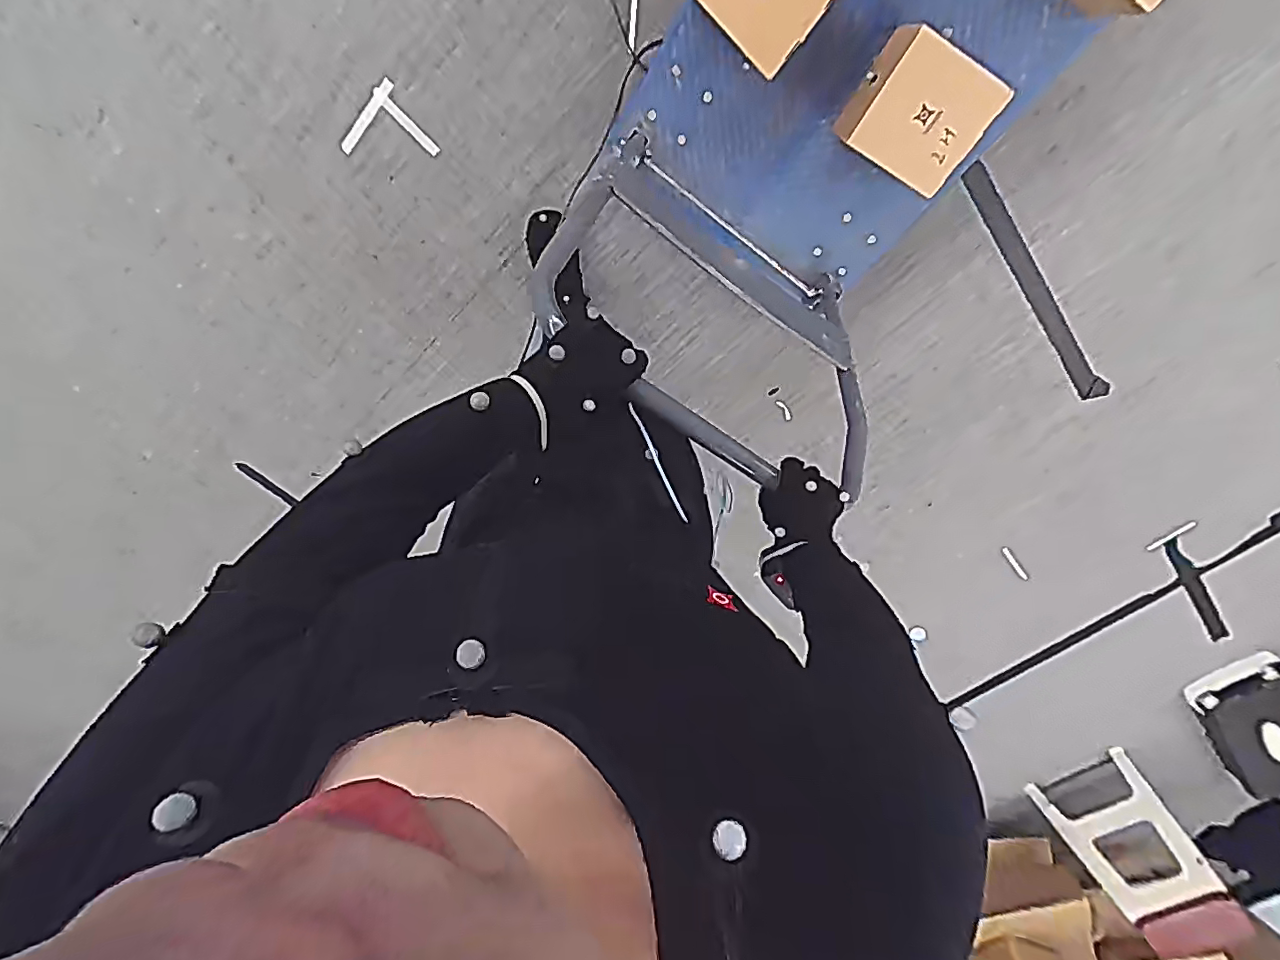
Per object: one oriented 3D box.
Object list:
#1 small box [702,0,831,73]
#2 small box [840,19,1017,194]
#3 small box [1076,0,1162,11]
[{"bbox_3d":[0.194,-0.756,0.809,0.179,0.176,0.168,34,127,-19],"label":"small box"},{"bbox_3d":[0.453,-0.606,0.883,0.179,0.176,0.168,26,129,-11],"label":"small box"},{"bbox_3d":[0.667,-0.767,0.710,0.168,0.176,0.179,29,129,-13],"label":"small box"}]
